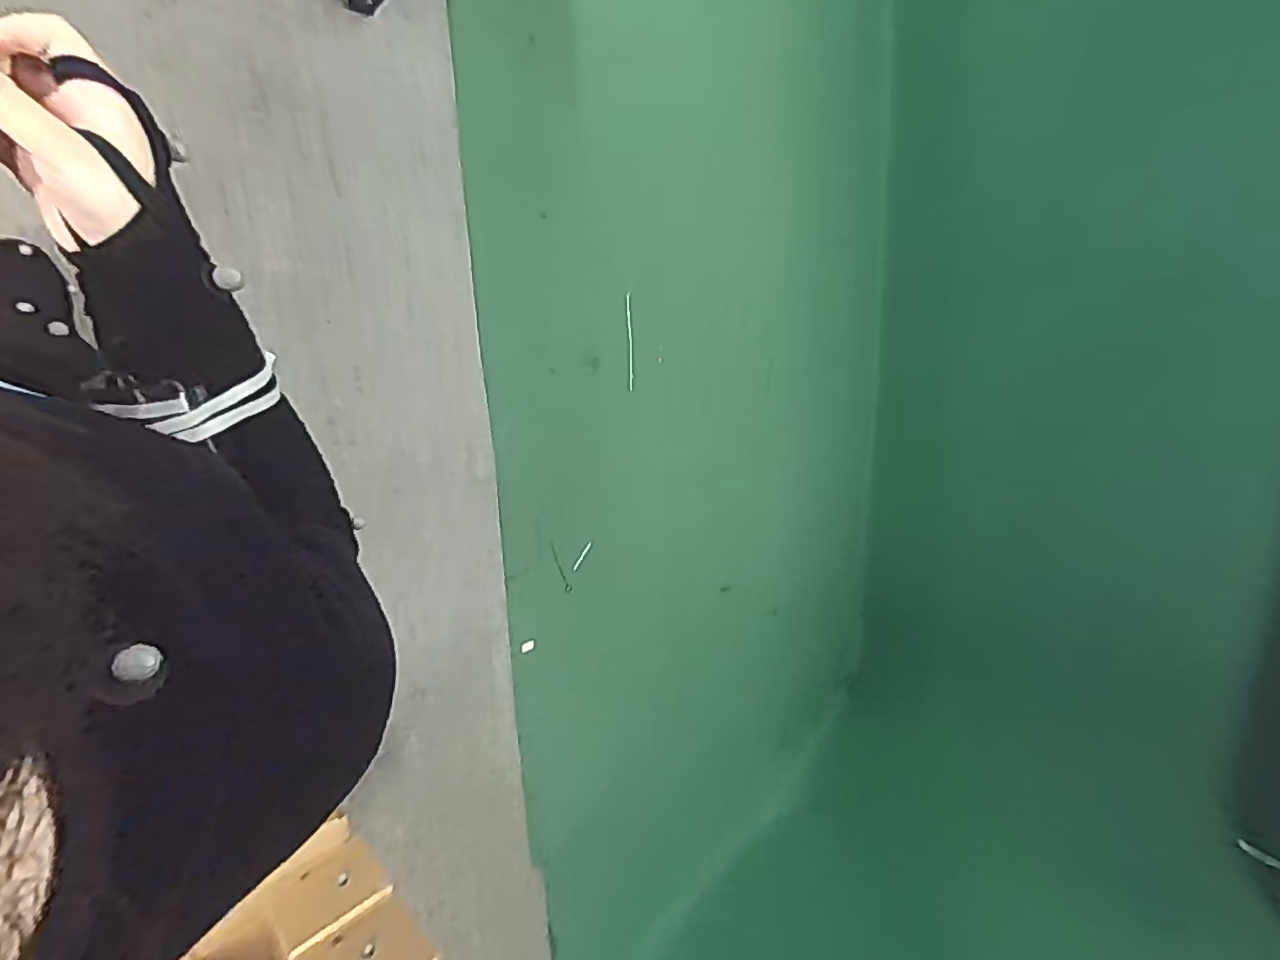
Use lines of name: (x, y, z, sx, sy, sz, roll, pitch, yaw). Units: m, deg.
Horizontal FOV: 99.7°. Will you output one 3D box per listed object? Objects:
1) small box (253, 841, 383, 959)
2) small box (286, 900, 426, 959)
small box: (-0.584, 0.809, 0.992, 0.168, 0.176, 0.179, -14, 108, -45)
small box: (-0.462, 0.844, 0.886, 0.168, 0.176, 0.179, -11, 106, -45)
